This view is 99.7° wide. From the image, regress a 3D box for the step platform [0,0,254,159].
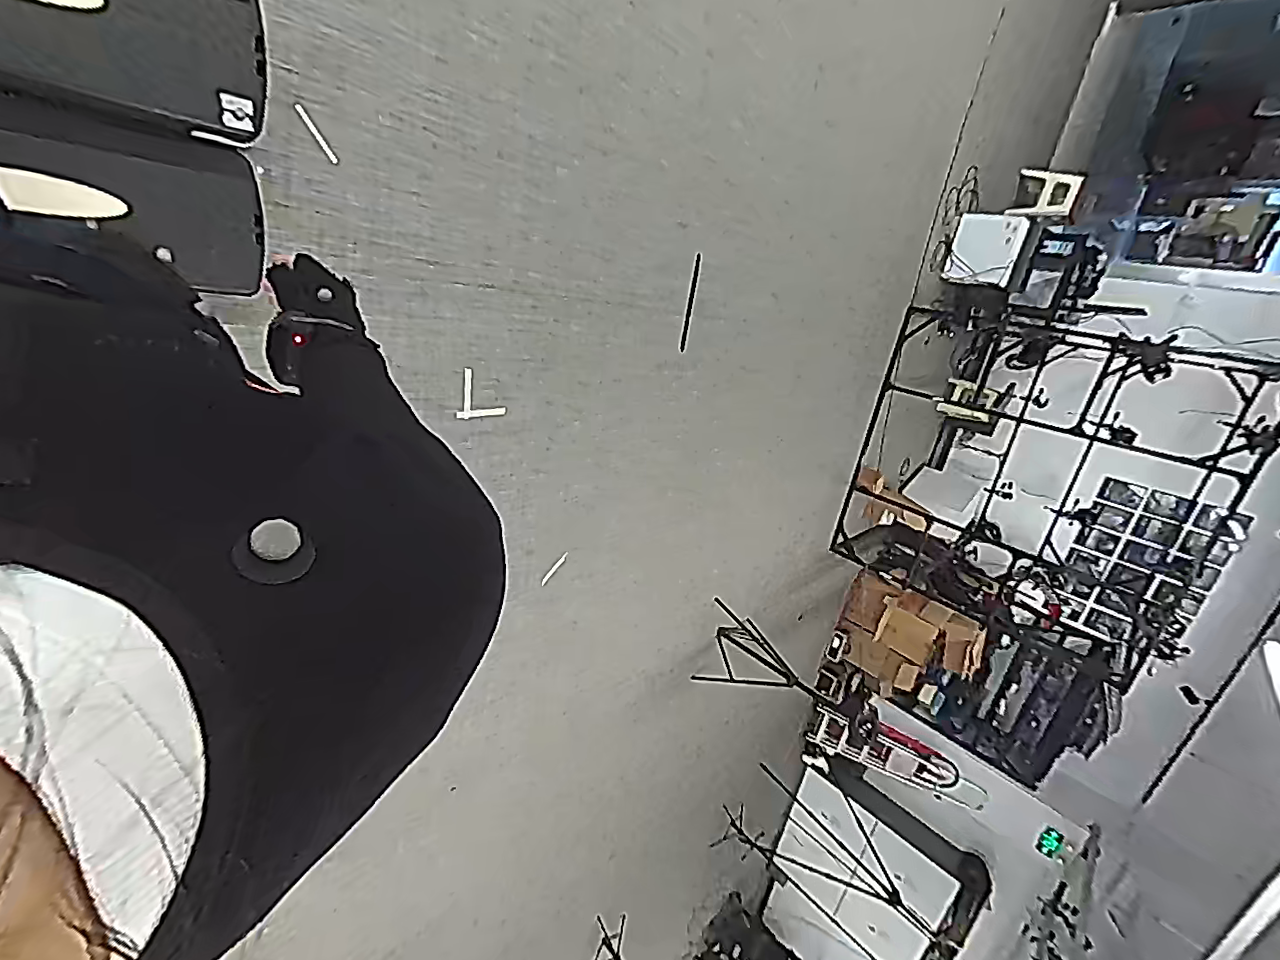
[{"bbox_3d":[-0.975,-0.705,0.776,0.684,0.204,0.286,-13,121,-46],"label":"step platform"}]
